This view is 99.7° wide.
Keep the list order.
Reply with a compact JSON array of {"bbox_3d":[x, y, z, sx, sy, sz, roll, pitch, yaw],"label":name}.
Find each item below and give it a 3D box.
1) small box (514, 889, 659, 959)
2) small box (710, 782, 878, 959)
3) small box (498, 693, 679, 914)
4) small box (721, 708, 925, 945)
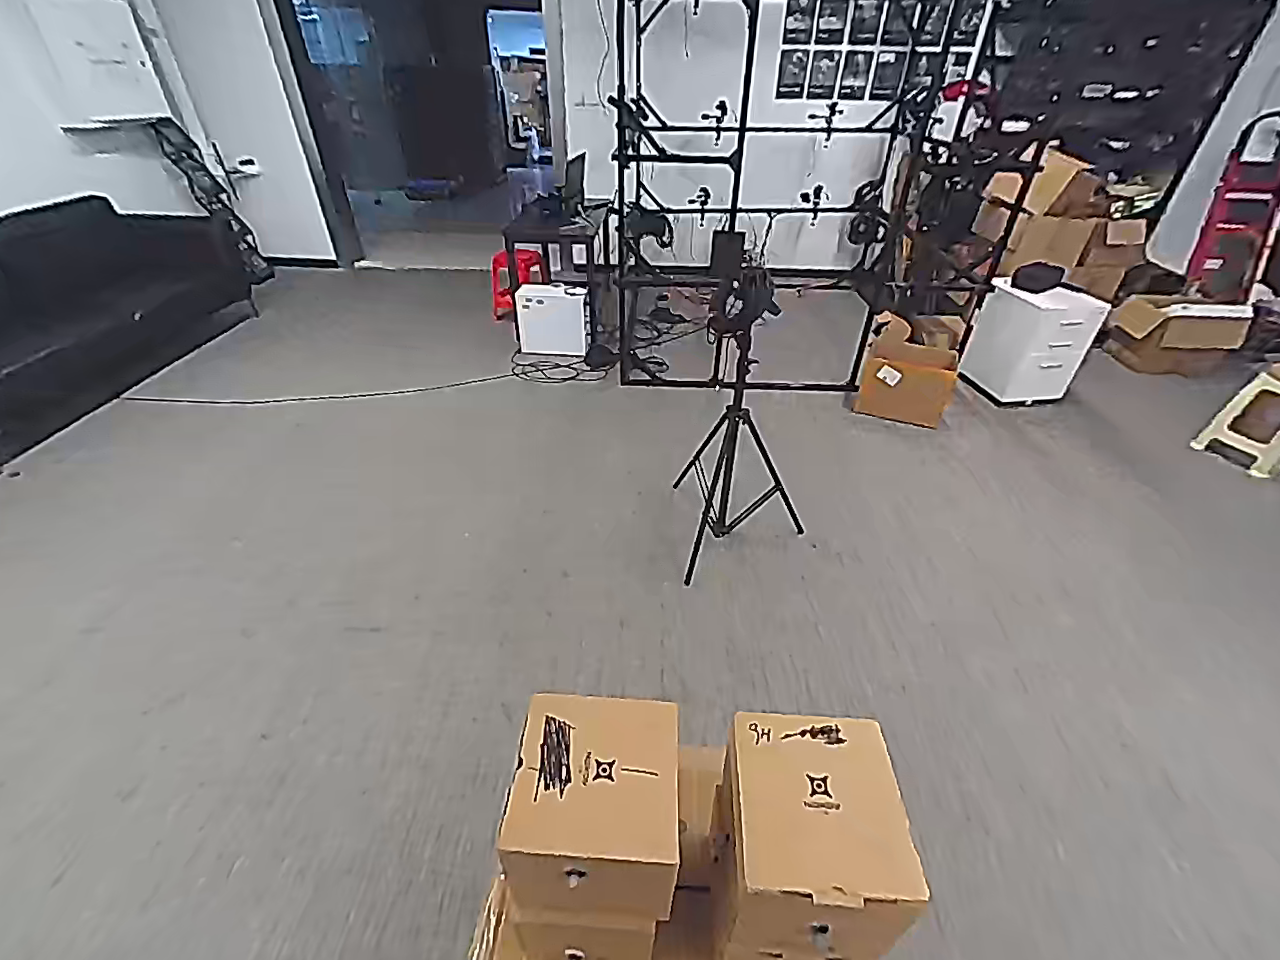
[{"bbox_3d":[-0.058,0.506,0.716,0.168,0.176,0.179,1,38,2],"label":"small box"},{"bbox_3d":[0.180,0.520,0.696,0.168,0.176,0.179,0,37,3],"label":"small box"},{"bbox_3d":[-0.047,0.371,0.623,0.179,0.176,0.168,3,37,1],"label":"small box"},{"bbox_3d":[0.182,0.384,0.602,0.168,0.176,0.179,3,37,3],"label":"small box"}]
